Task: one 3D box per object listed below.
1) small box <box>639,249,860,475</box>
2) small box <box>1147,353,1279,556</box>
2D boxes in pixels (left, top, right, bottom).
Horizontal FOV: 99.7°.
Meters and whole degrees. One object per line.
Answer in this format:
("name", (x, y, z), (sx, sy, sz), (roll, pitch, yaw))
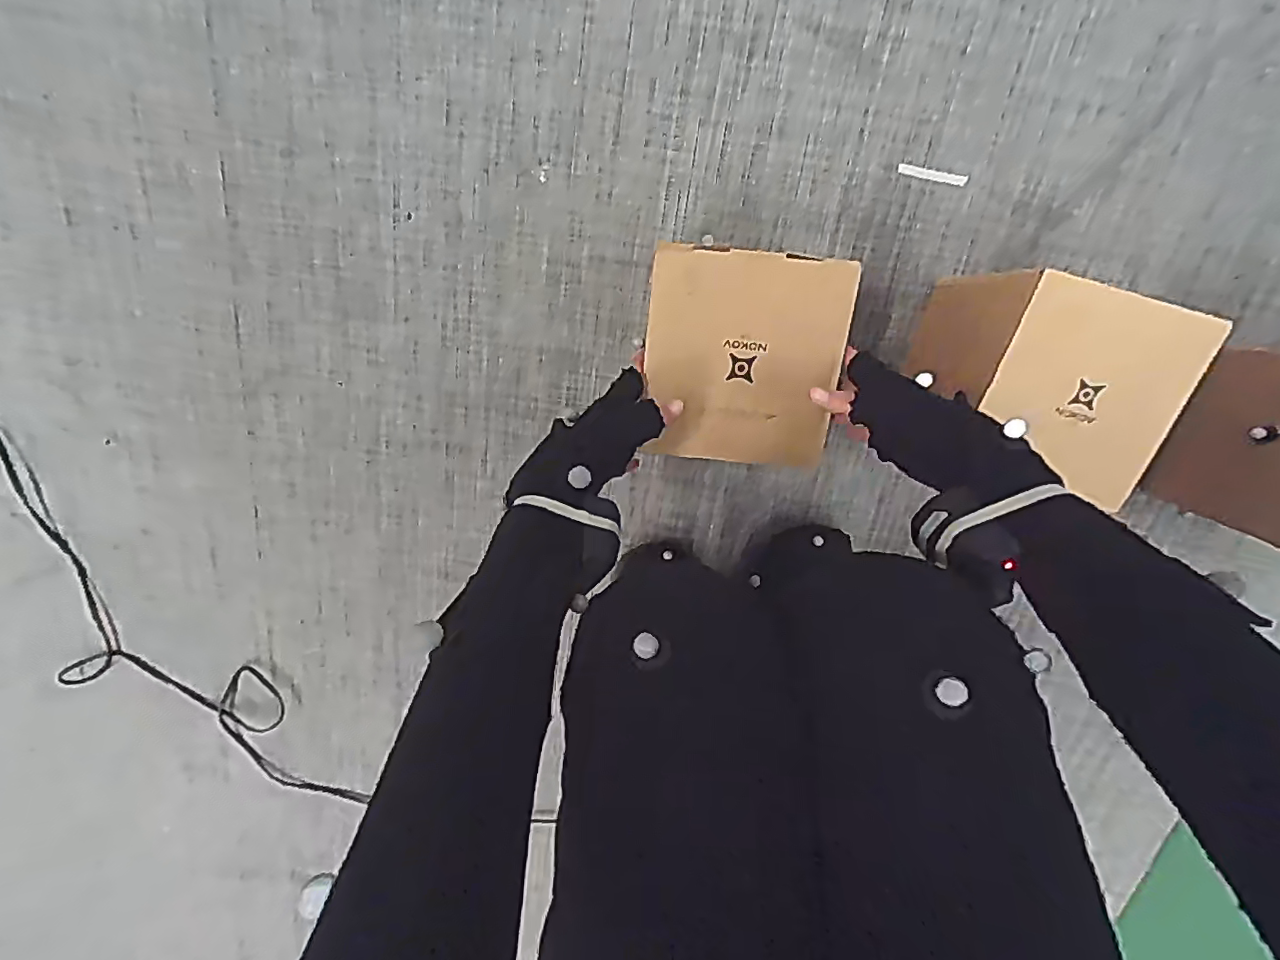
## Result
("small box", (0.090, -0.120, 0.530), (0.168, 0.176, 0.179), (6, 110, 1))
("small box", (0.682, -0.021, 0.546), (0.168, 0.176, 0.179), (10, 108, -2))
